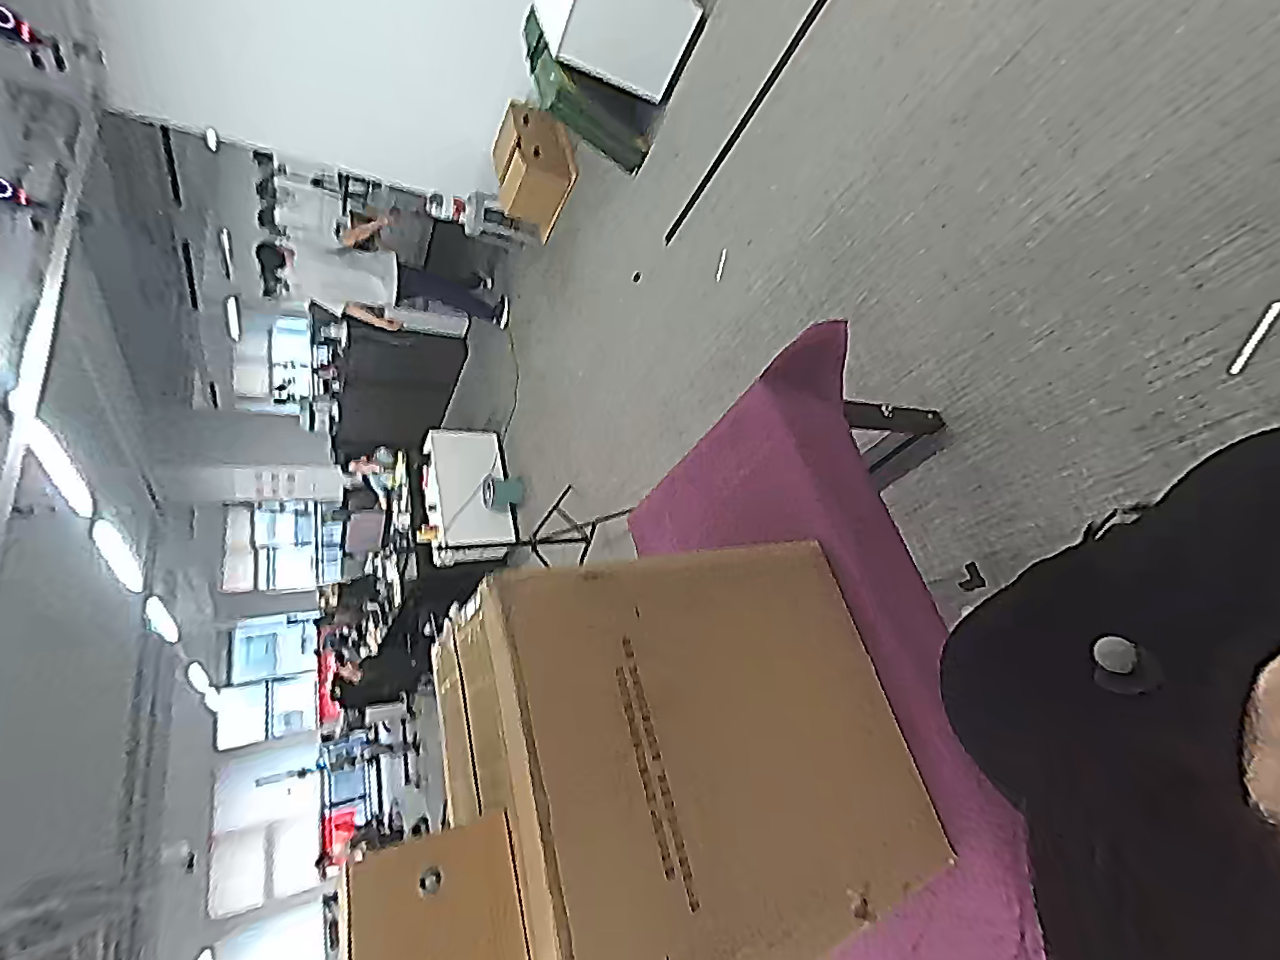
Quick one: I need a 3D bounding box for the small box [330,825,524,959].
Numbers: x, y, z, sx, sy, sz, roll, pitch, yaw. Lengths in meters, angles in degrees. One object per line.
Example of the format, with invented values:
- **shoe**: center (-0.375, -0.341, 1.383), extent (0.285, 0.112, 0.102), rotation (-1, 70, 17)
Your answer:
- **small box**: center (-0.238, 0.504, 0.594), extent (0.168, 0.176, 0.179), rotation (-53, 48, 44)
